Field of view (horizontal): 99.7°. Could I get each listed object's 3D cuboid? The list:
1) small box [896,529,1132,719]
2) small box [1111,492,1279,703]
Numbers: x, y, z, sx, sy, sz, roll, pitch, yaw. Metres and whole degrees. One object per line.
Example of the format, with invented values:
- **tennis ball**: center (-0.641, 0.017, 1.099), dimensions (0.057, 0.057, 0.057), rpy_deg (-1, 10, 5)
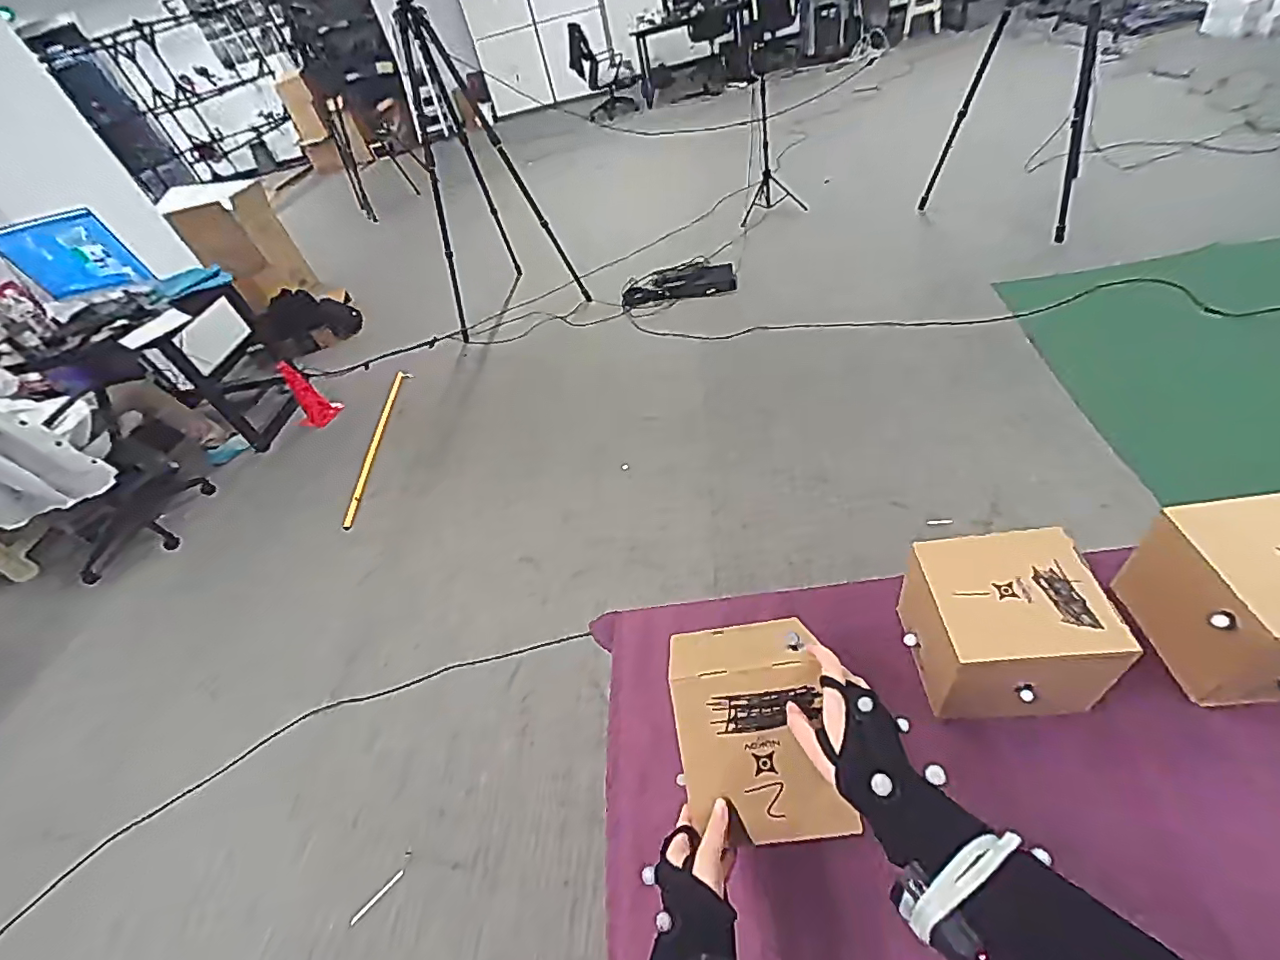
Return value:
- **small box**: center (0.441, 0.184, 0.677), dimensions (0.179, 0.176, 0.168), rpy_deg (-9, 45, 11)
- **small box**: center (0.717, 0.138, 0.636), dimensions (0.168, 0.176, 0.179), rpy_deg (-9, 46, 9)
